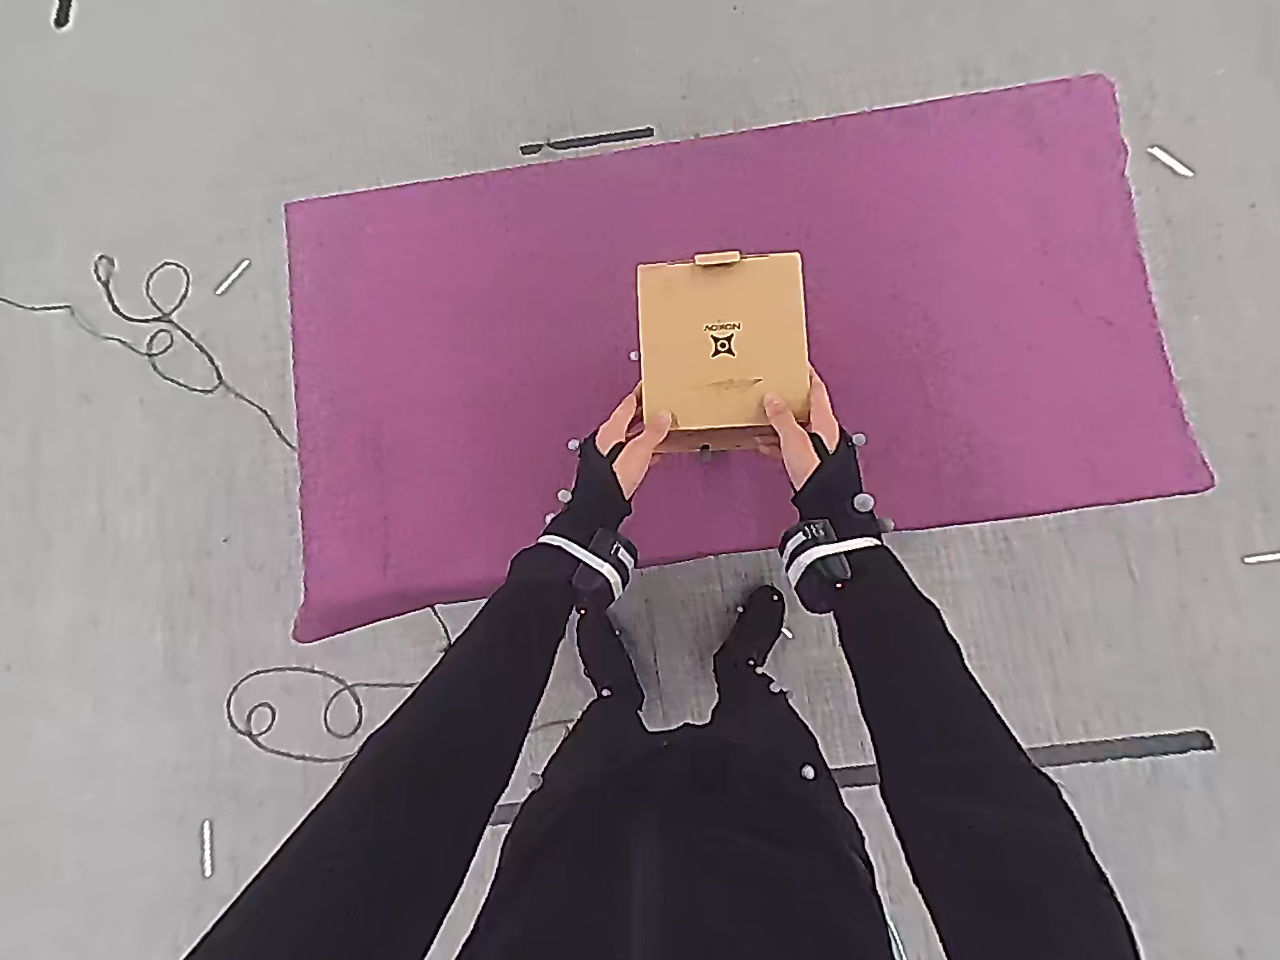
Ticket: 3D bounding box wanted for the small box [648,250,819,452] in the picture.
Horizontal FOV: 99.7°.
[{"bbox_3d":[0.094,-0.131,0.606,0.168,0.176,0.179,-2,85,5],"label":"small box"}]
